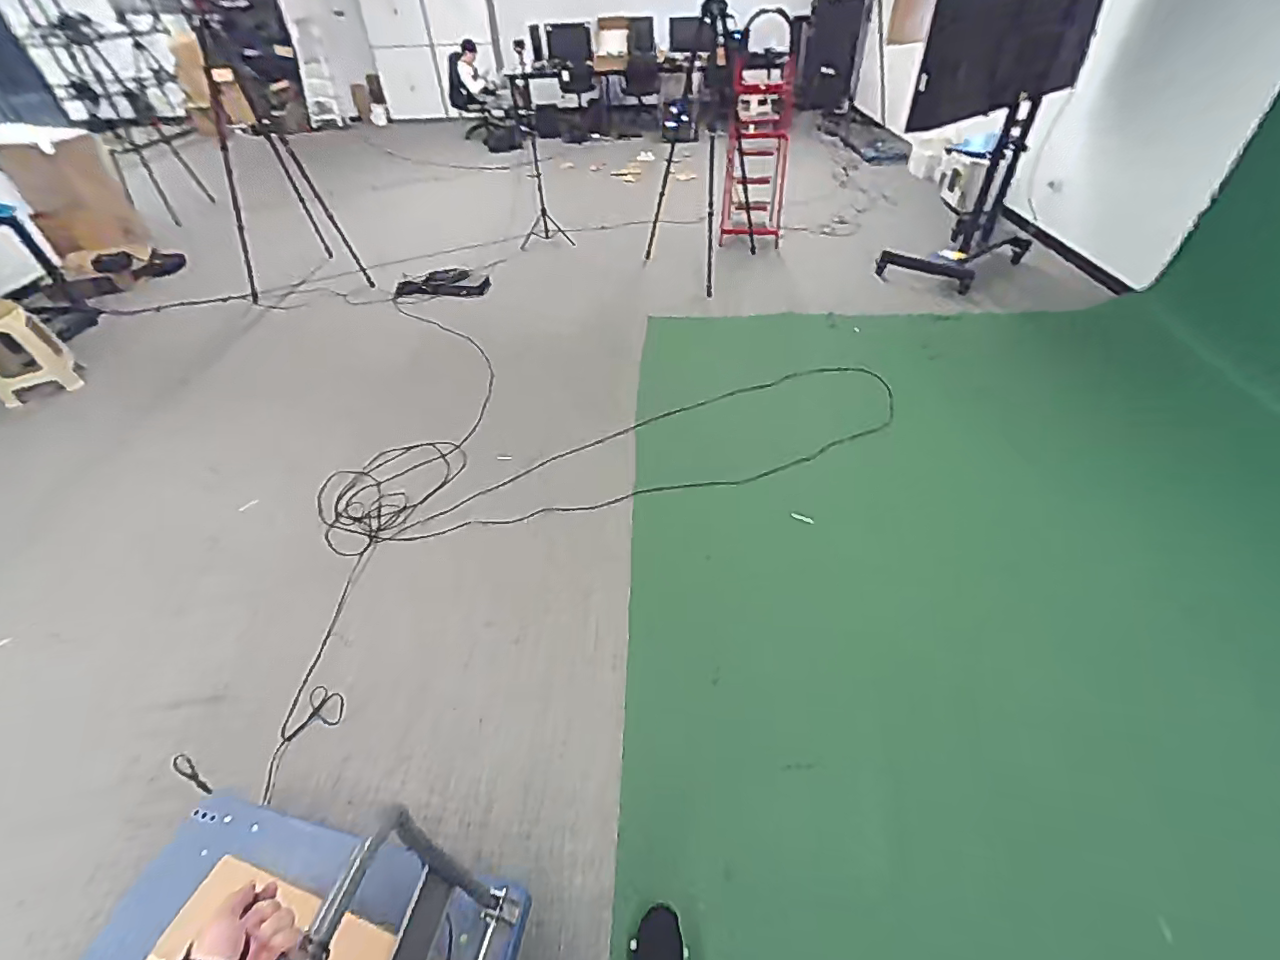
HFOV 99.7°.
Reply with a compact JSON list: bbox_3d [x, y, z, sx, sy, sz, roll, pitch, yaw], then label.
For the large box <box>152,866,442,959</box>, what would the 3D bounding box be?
[{"bbox_3d":[-0.595,0.929,0.914,0.408,0.320,0.320,11,44,15],"label":"large box"}]
